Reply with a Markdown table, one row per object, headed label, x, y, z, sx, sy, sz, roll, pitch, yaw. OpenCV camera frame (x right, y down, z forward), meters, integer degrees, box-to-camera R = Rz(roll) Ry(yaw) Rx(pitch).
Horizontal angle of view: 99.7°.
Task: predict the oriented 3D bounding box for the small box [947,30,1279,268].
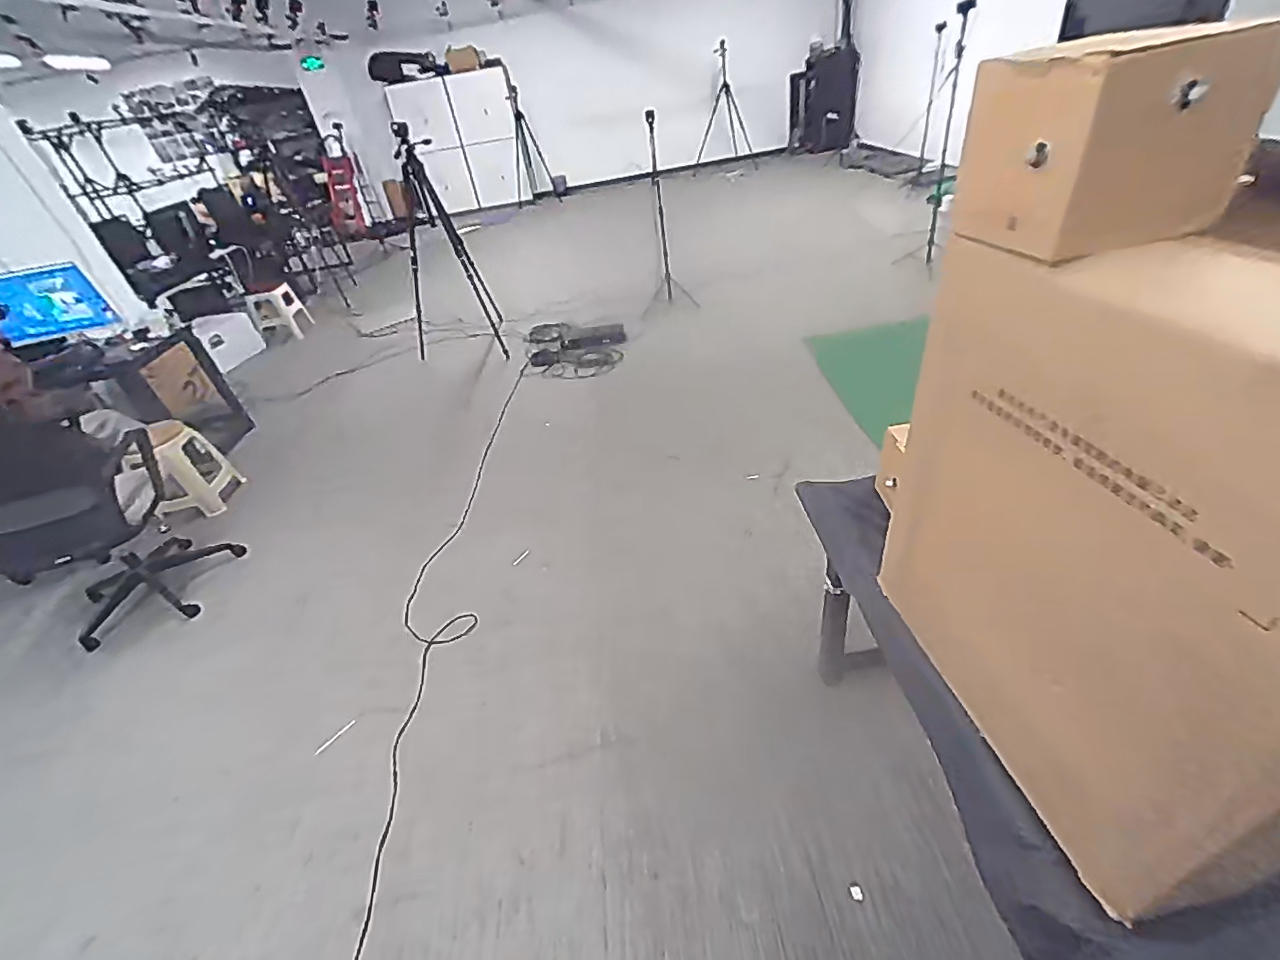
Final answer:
| label | x | y | z | sx | sy | sz | roll | pitch | yaw |
| --- | --- | --- | --- | --- | --- | --- | --- | --- | --- |
| small box | 0.443 | -0.329 | 0.551 | 0.179 | 0.176 | 0.168 | -11 | 37 | -2 |
